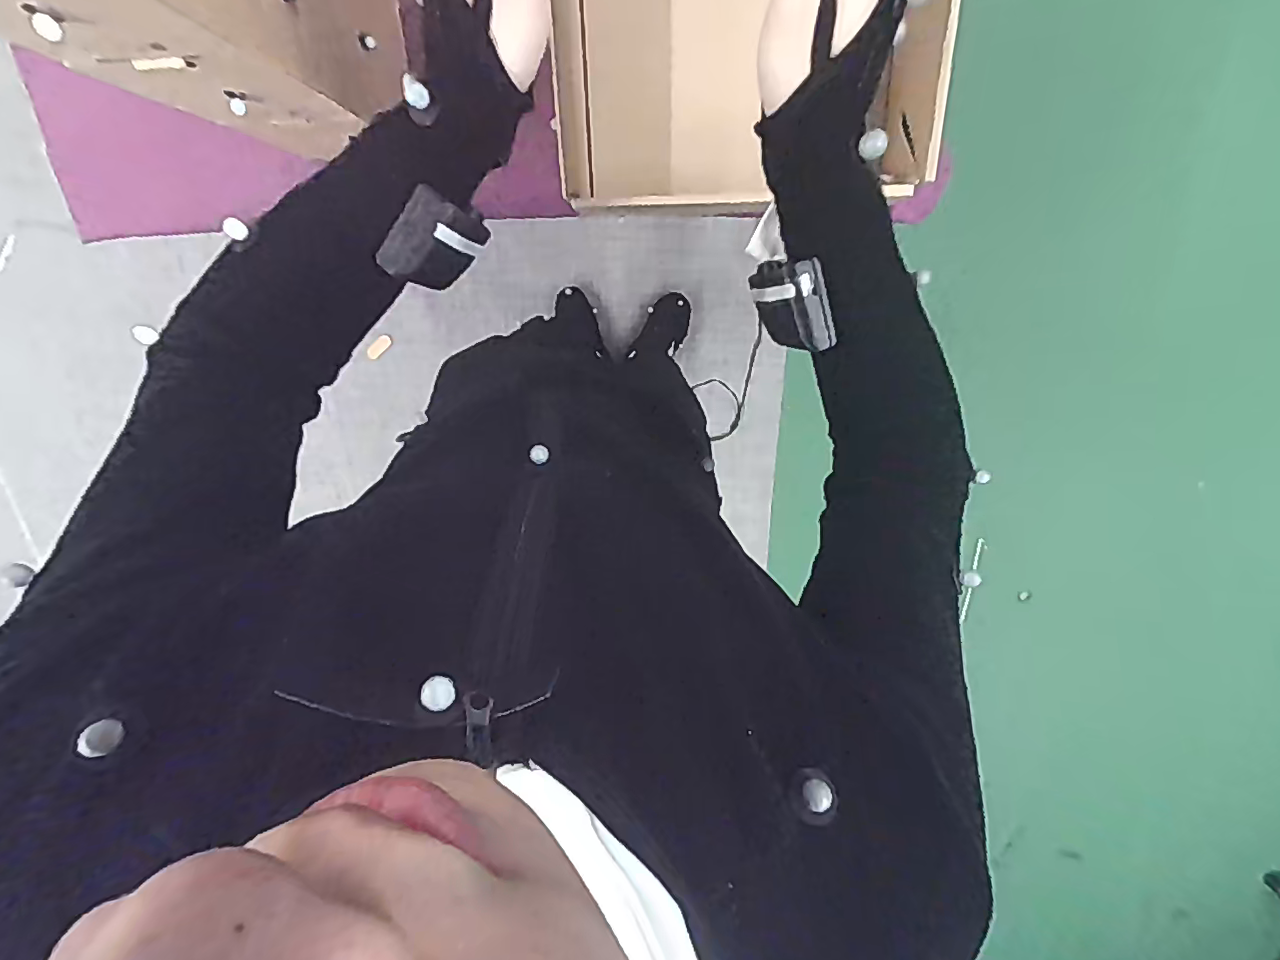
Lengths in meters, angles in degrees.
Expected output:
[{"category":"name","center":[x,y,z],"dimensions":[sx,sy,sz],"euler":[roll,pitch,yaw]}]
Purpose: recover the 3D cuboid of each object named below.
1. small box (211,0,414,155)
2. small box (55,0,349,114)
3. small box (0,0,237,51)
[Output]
[{"category":"small box","center":[-0.389,-0.501,0.643],"dimensions":[0.168,0.176,0.179],"euler":[-1,108,2]},{"category":"small box","center":[-0.394,-0.450,0.488],"dimensions":[0.168,0.176,0.179],"euler":[-1,110,1]},{"category":"small box","center":[-0.396,-0.396,0.331],"dimensions":[0.168,0.176,0.179],"euler":[0,109,1]}]
